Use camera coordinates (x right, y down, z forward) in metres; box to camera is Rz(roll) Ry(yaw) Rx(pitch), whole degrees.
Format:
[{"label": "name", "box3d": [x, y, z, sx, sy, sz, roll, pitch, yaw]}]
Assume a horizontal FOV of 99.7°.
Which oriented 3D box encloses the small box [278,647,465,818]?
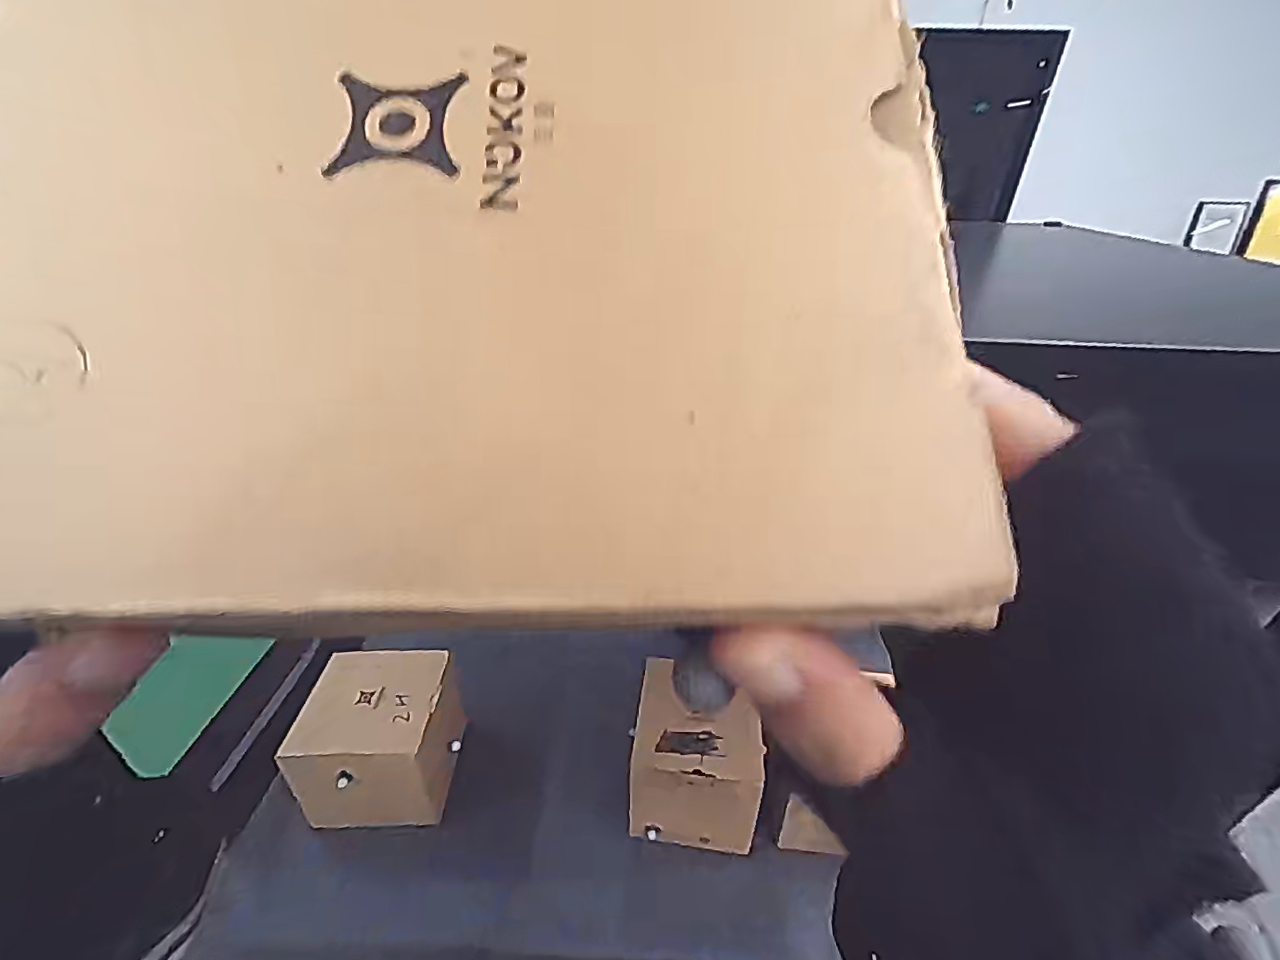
[{"label": "small box", "box3d": [-0.369, 0.364, 0.782, 0.179, 0.176, 0.168, 1, 32, -2]}]
